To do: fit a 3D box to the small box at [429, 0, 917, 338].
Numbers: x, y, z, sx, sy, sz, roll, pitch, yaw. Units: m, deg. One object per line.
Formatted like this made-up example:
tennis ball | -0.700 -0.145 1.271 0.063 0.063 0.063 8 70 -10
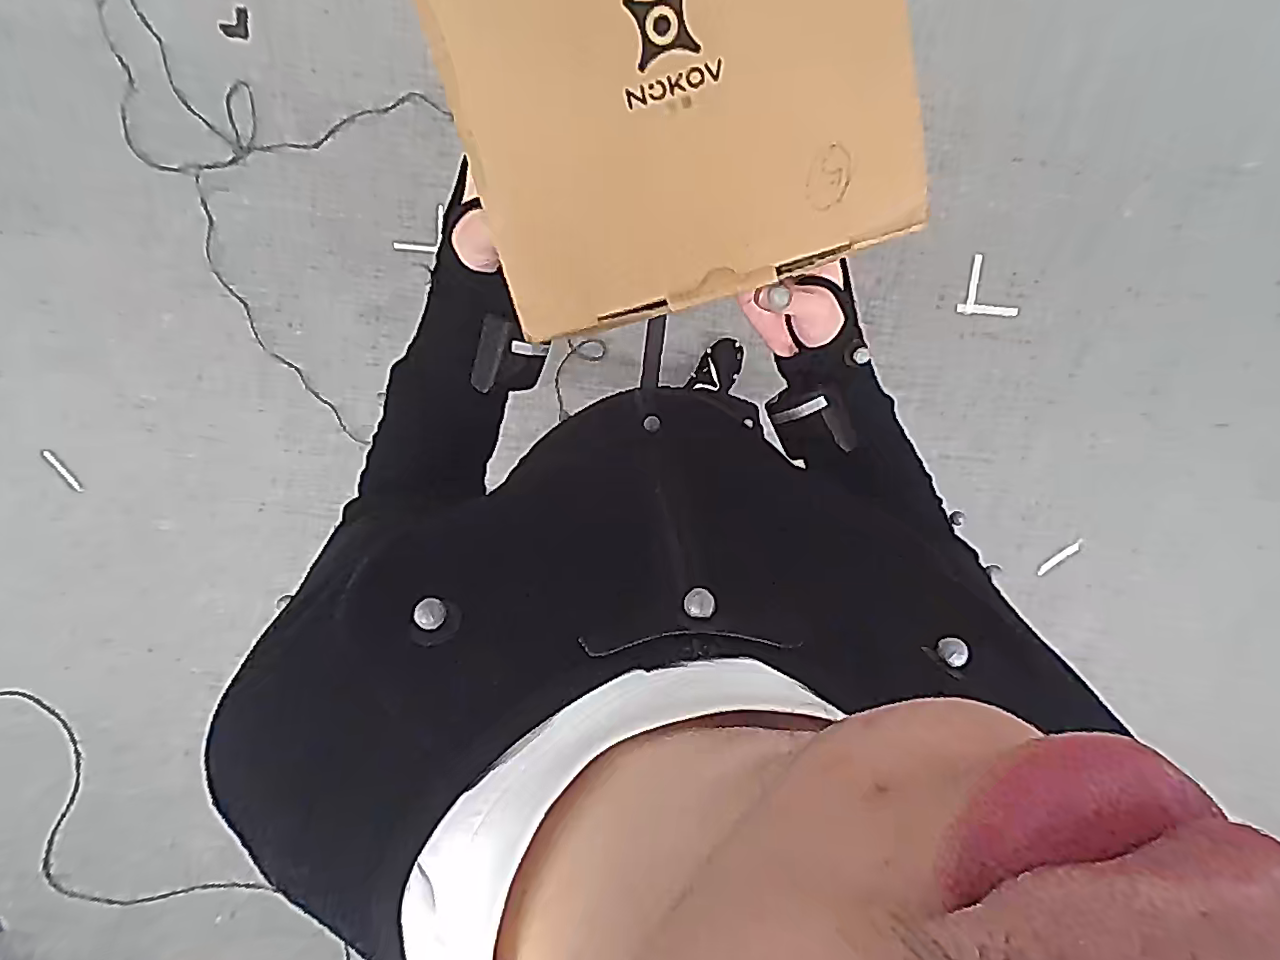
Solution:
small box | 0.014 -0.184 0.279 0.168 0.176 0.179 -15 105 6
